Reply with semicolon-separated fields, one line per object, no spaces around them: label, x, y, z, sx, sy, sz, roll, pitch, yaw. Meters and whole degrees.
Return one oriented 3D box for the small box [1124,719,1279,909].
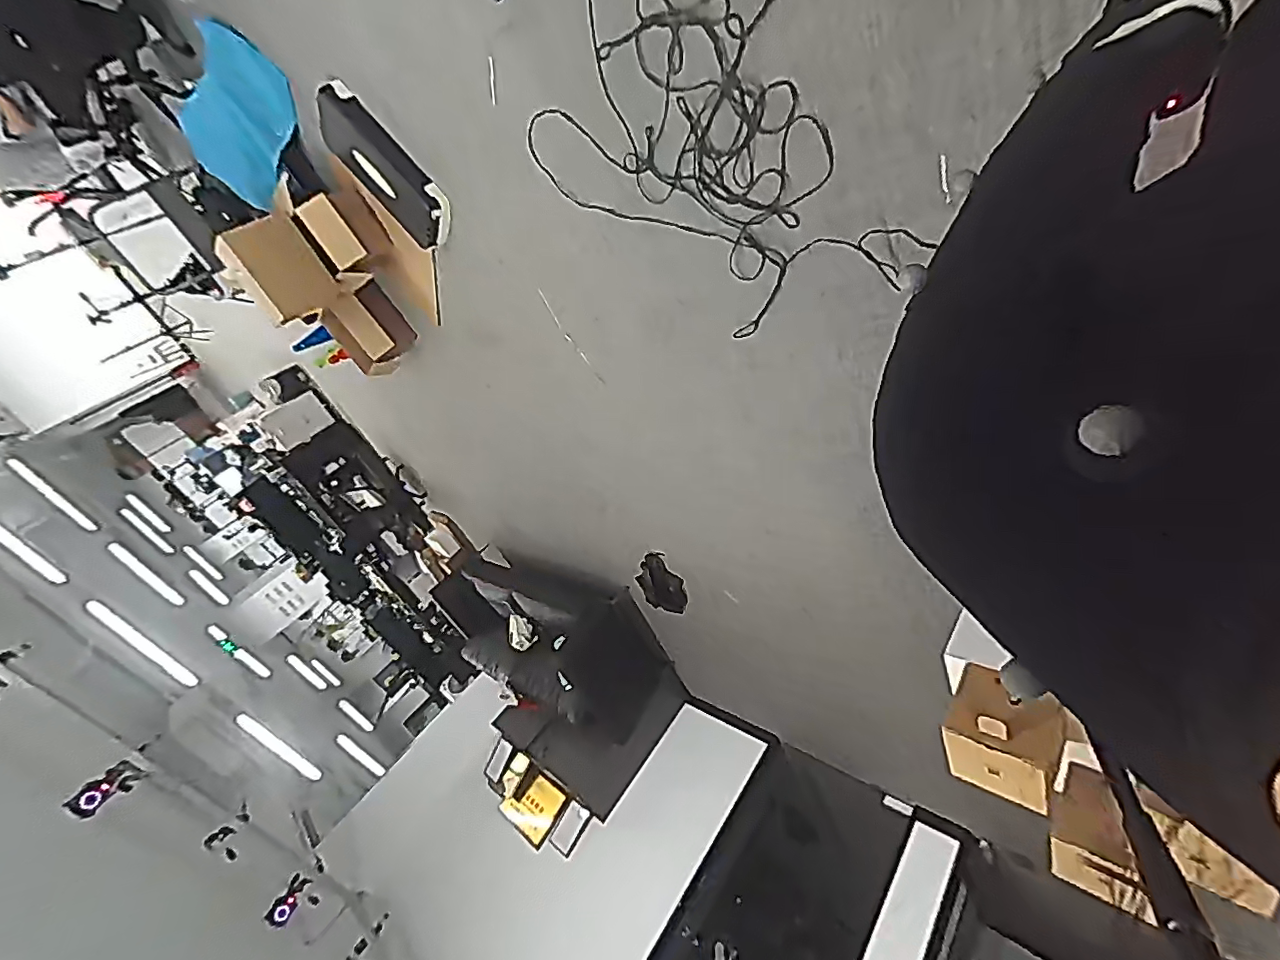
small box;0.907;0.524;0.870;0.168;0.176;0.179;11;138;47

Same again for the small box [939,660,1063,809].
small box;0.718;0.495;1.069;0.168;0.176;0.179;8;135;46
